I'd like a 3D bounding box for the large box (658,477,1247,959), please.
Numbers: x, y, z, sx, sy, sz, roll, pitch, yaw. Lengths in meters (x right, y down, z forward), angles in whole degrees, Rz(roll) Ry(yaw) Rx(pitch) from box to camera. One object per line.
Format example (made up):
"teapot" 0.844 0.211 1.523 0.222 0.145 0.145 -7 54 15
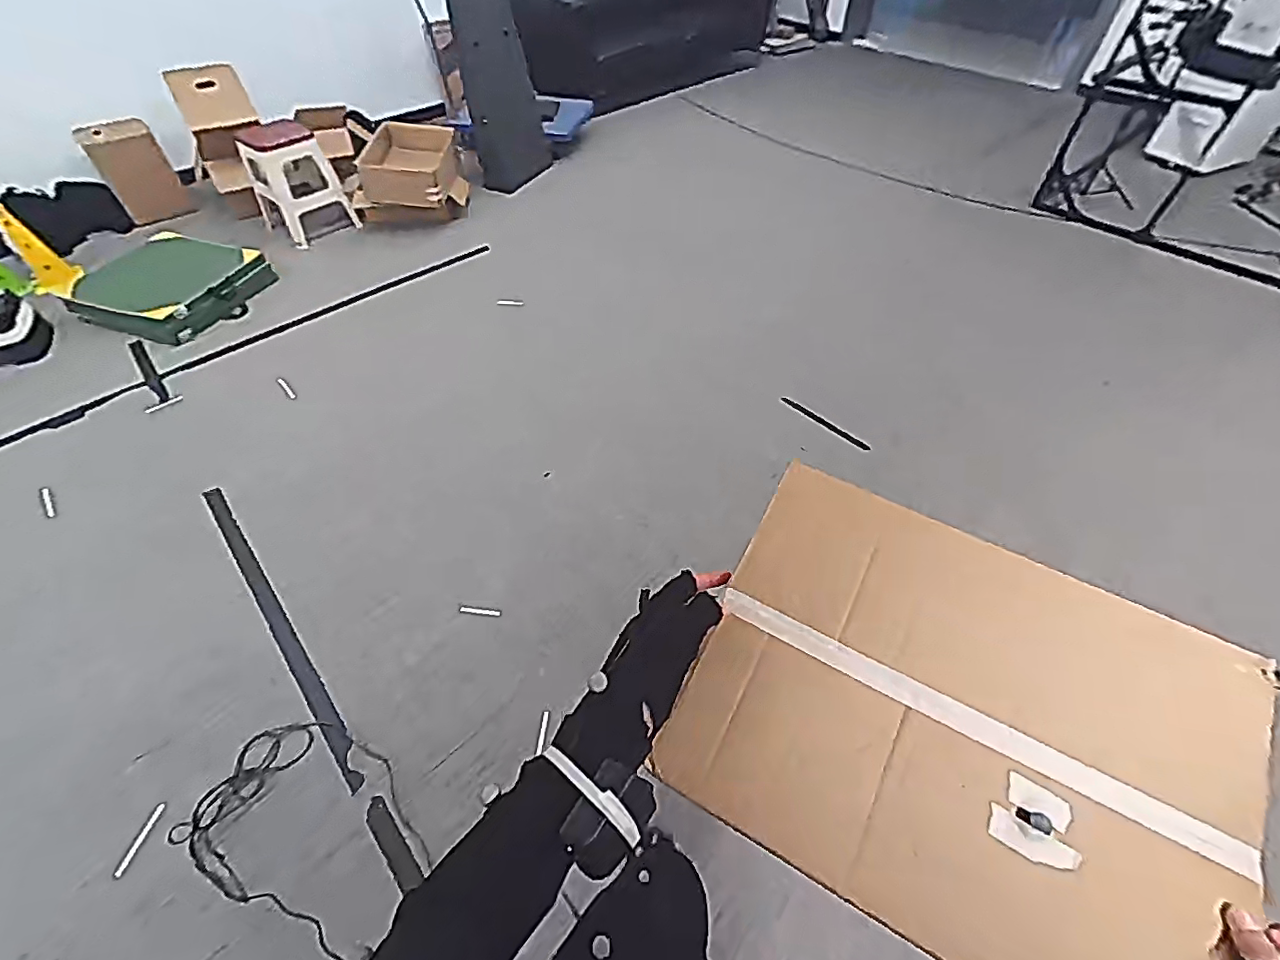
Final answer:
"large box" 0.267 0.258 0.580 0.408 0.320 0.320 25 70 16
